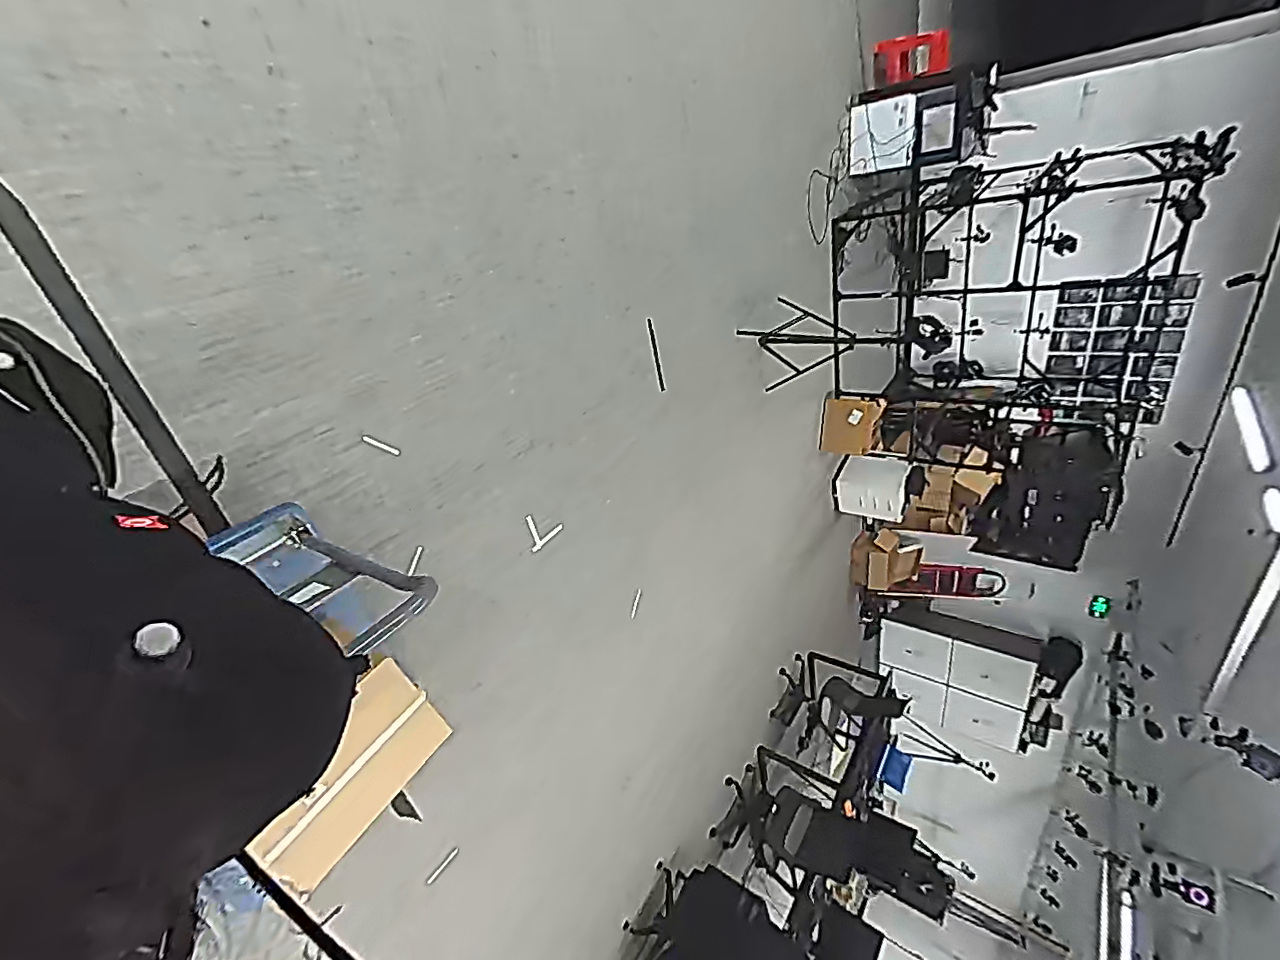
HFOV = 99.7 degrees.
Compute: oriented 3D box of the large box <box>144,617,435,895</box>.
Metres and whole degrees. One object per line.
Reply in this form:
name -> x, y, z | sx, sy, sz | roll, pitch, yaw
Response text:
large box -> -0.769, 0.595, 1.230 | 0.408, 0.320, 0.320 | -46, 132, -36
